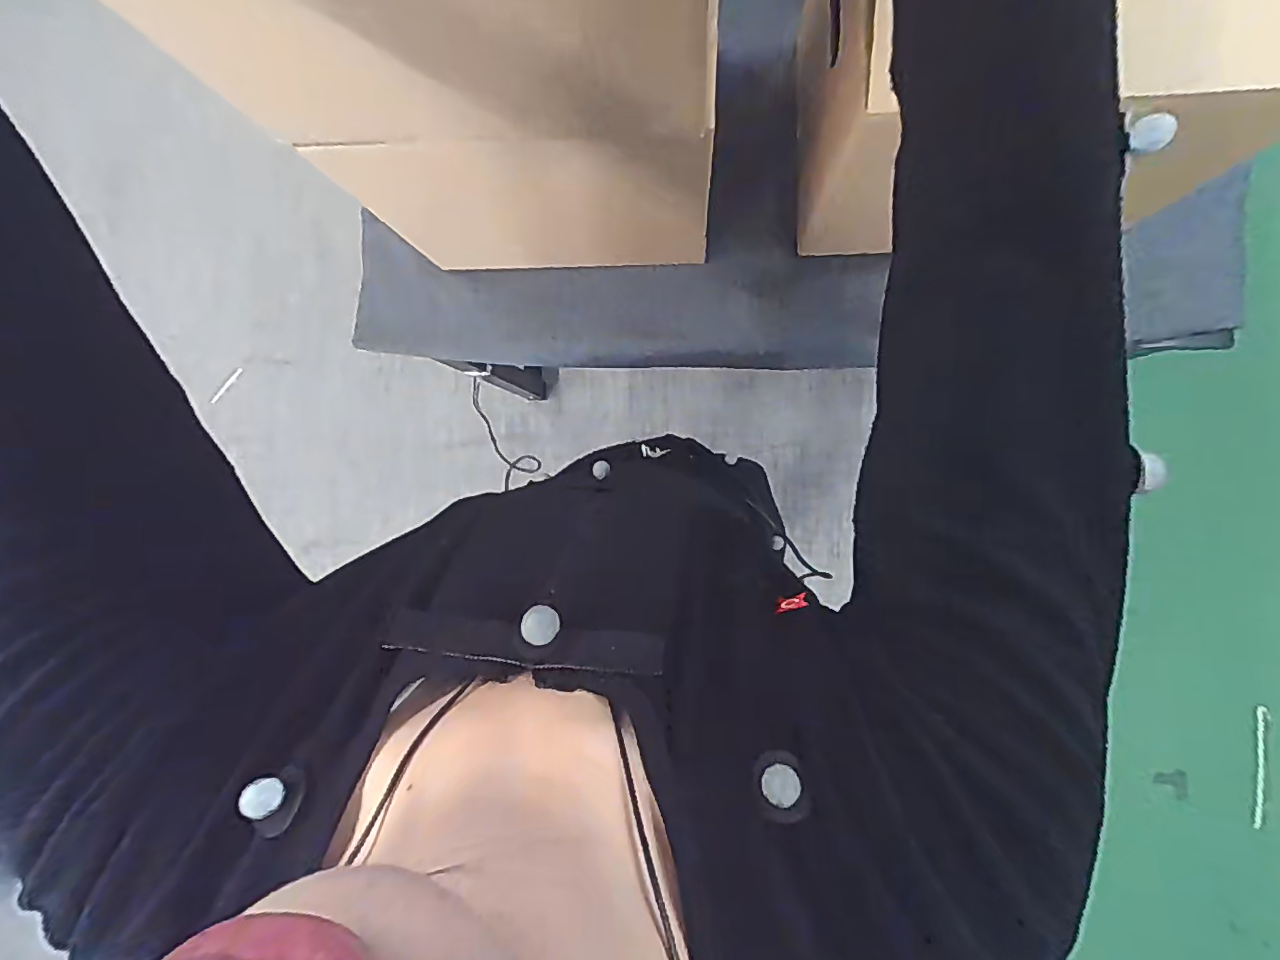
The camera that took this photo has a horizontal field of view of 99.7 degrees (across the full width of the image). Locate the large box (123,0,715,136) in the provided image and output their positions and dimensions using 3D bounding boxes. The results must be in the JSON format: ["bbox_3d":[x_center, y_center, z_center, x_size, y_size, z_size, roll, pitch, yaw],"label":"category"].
[{"bbox_3d":[-0.150,-0.466,0.343,0.408,0.320,0.320,2,92,4],"label":"large box"}]
